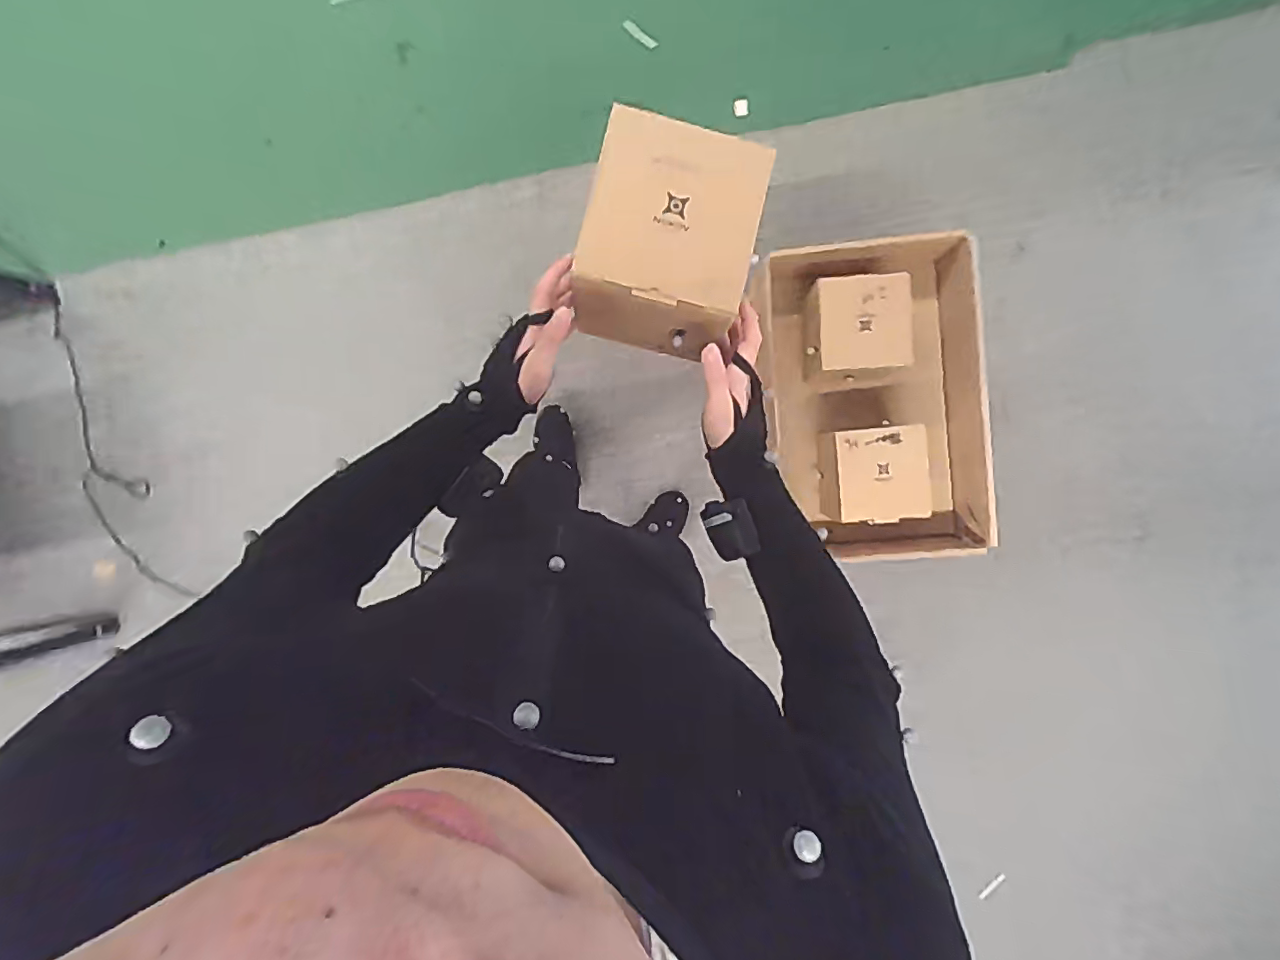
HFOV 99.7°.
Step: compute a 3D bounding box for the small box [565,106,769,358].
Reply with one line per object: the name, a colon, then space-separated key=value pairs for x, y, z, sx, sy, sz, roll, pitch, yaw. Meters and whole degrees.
small box: x=0.023 y=-0.252 z=0.594 sx=0.168 sy=0.176 sz=0.179 roll=14 pitch=86 yaw=-3
